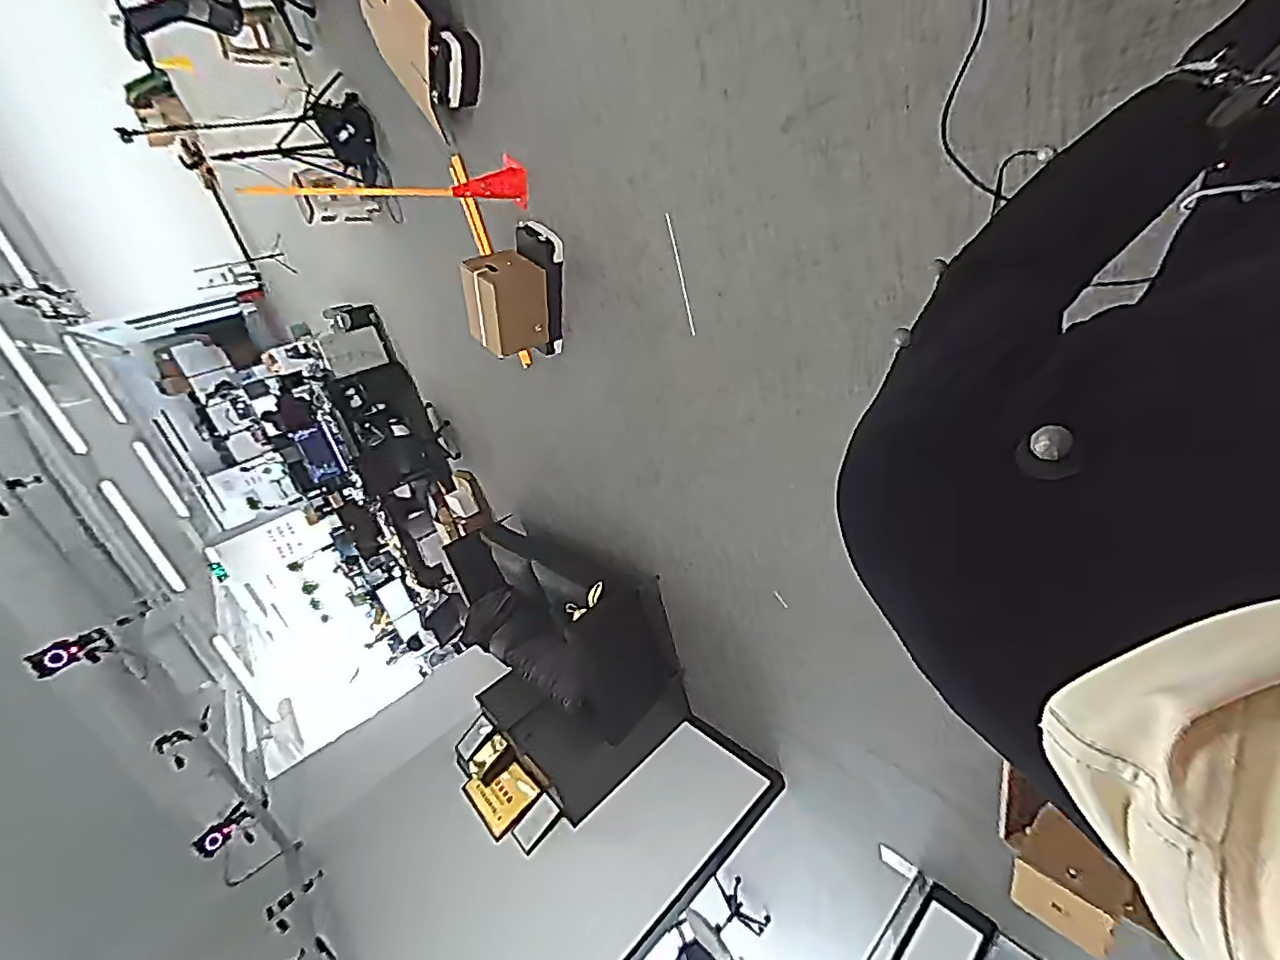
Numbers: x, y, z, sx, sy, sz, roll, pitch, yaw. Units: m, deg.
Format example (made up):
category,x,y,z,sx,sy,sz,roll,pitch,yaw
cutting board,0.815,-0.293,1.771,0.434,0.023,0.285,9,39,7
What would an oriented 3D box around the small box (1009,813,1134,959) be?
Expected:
category,x,y,z,sx,sy,sz,roll,pitch,yaw
small box,0.962,0.898,1.207,0.179,0.176,0.168,19,129,48
